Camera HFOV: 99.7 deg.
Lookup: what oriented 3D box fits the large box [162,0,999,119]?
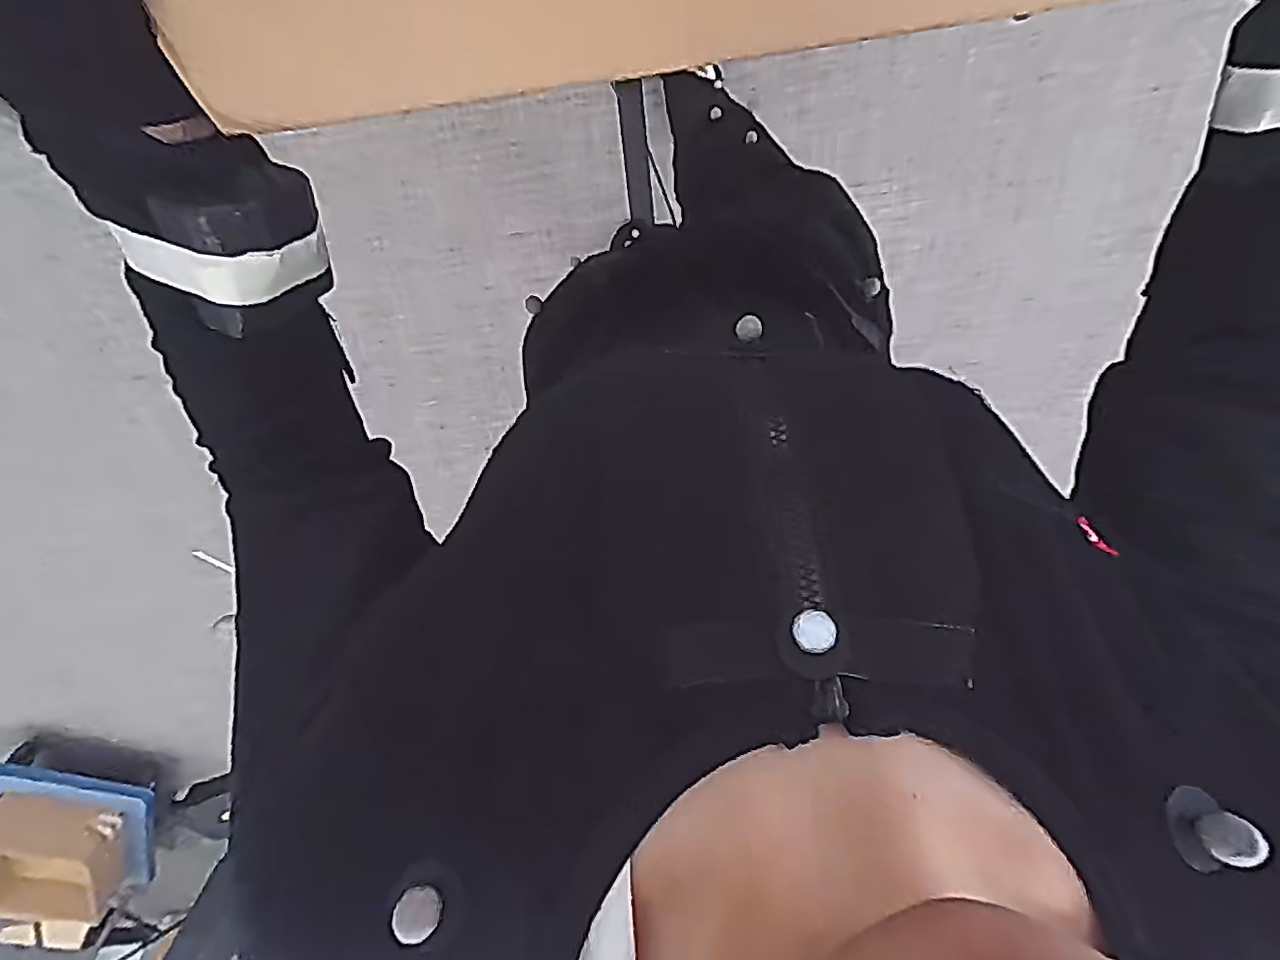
[{"bbox_3d":[0.010,-0.377,0.175,0.408,0.320,0.320,-6,141,3],"label":"large box"}]
